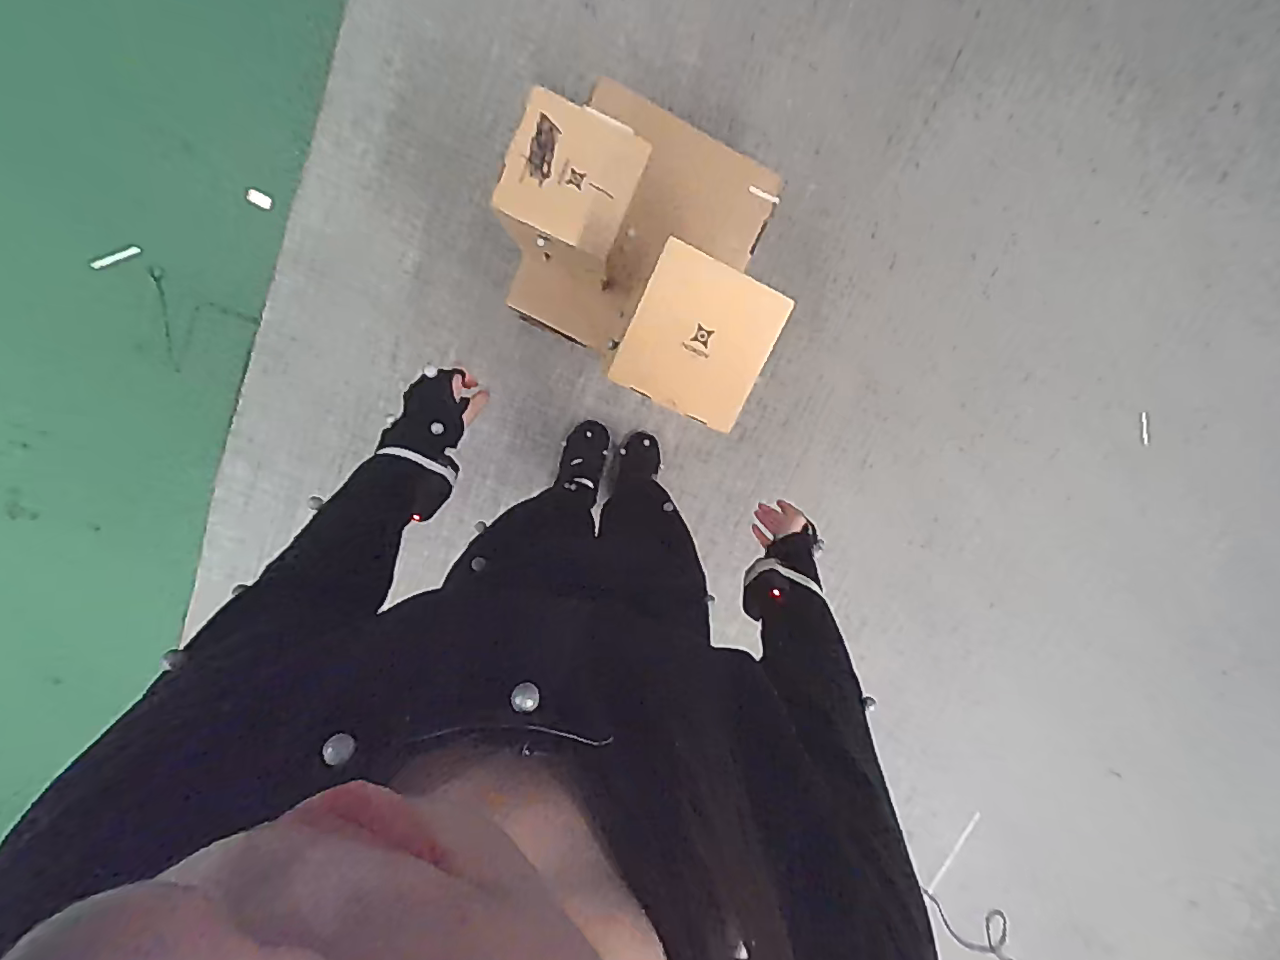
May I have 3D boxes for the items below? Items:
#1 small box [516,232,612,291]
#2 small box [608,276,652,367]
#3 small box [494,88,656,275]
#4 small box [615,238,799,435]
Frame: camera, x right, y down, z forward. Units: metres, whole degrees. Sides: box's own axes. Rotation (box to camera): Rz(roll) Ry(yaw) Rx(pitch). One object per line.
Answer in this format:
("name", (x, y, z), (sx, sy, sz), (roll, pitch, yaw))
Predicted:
("small box", (-0.105, -0.465, 0.970), (0.168, 0.176, 0.179), (24, 98, -8))
("small box", (0.049, -0.262, 1.022), (0.179, 0.176, 0.168), (22, 99, -8))
("small box", (-0.091, -0.426, 0.808), (0.179, 0.176, 0.168), (23, 100, -7))
("small box", (0.071, -0.181, 0.706), (0.168, 0.176, 0.179), (24, 101, -9))
